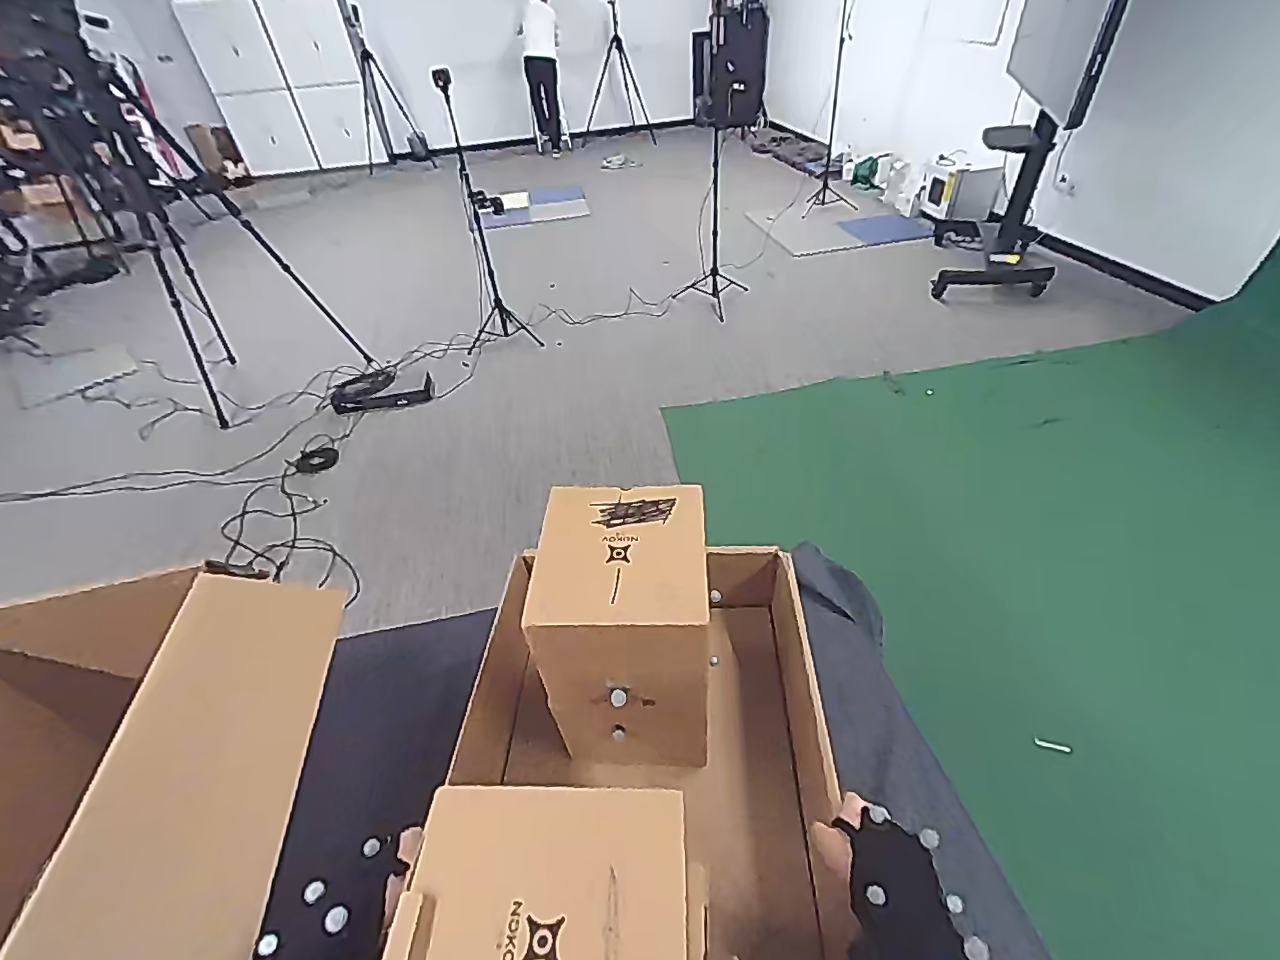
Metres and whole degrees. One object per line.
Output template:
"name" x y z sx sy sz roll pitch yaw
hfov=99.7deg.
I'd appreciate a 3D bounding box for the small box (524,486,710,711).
"small box" -0.013 0.125 0.581 0.168 0.176 0.179 -1 44 5
